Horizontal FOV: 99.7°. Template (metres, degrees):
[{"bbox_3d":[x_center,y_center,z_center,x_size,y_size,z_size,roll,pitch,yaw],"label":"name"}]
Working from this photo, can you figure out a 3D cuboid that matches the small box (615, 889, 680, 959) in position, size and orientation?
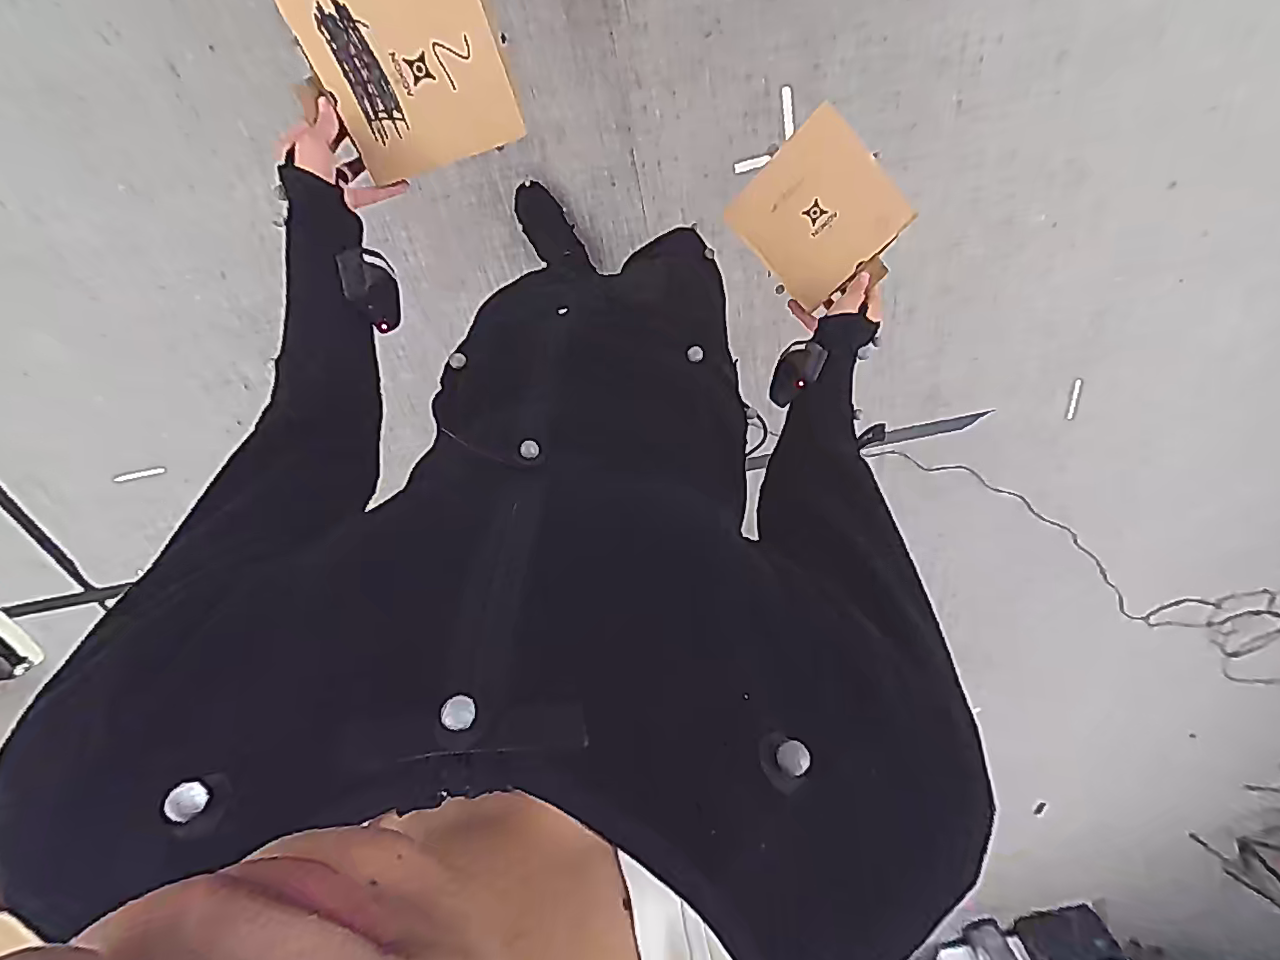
[{"bbox_3d":[0.022,1.344,1.602,0.168,0.176,0.179,-9,121,0],"label":"small box"}]

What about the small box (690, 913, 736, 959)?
[{"bbox_3d":[0.256,1.526,1.732,0.168,0.176,0.179,-6,118,-2],"label":"small box"}]

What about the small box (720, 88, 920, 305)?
[{"bbox_3d":[0.228,-0.366,0.716,0.179,0.176,0.168,43,117,-11],"label":"small box"}]
